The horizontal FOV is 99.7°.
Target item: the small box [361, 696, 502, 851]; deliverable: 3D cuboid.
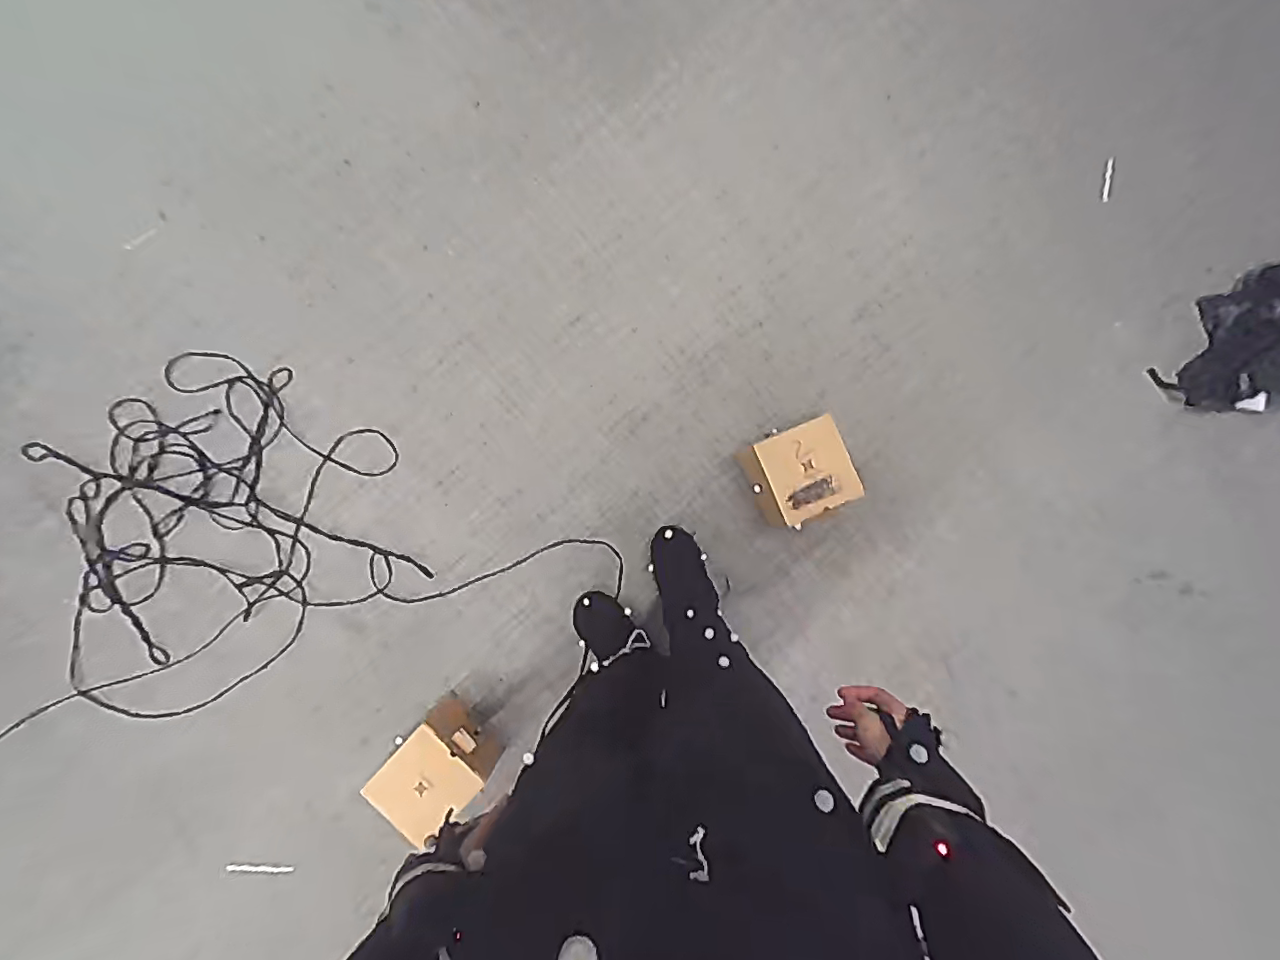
[{"bbox_3d":[-0.403,0.573,1.082,0.168,0.176,0.179,43,87,1],"label":"small box"}]
